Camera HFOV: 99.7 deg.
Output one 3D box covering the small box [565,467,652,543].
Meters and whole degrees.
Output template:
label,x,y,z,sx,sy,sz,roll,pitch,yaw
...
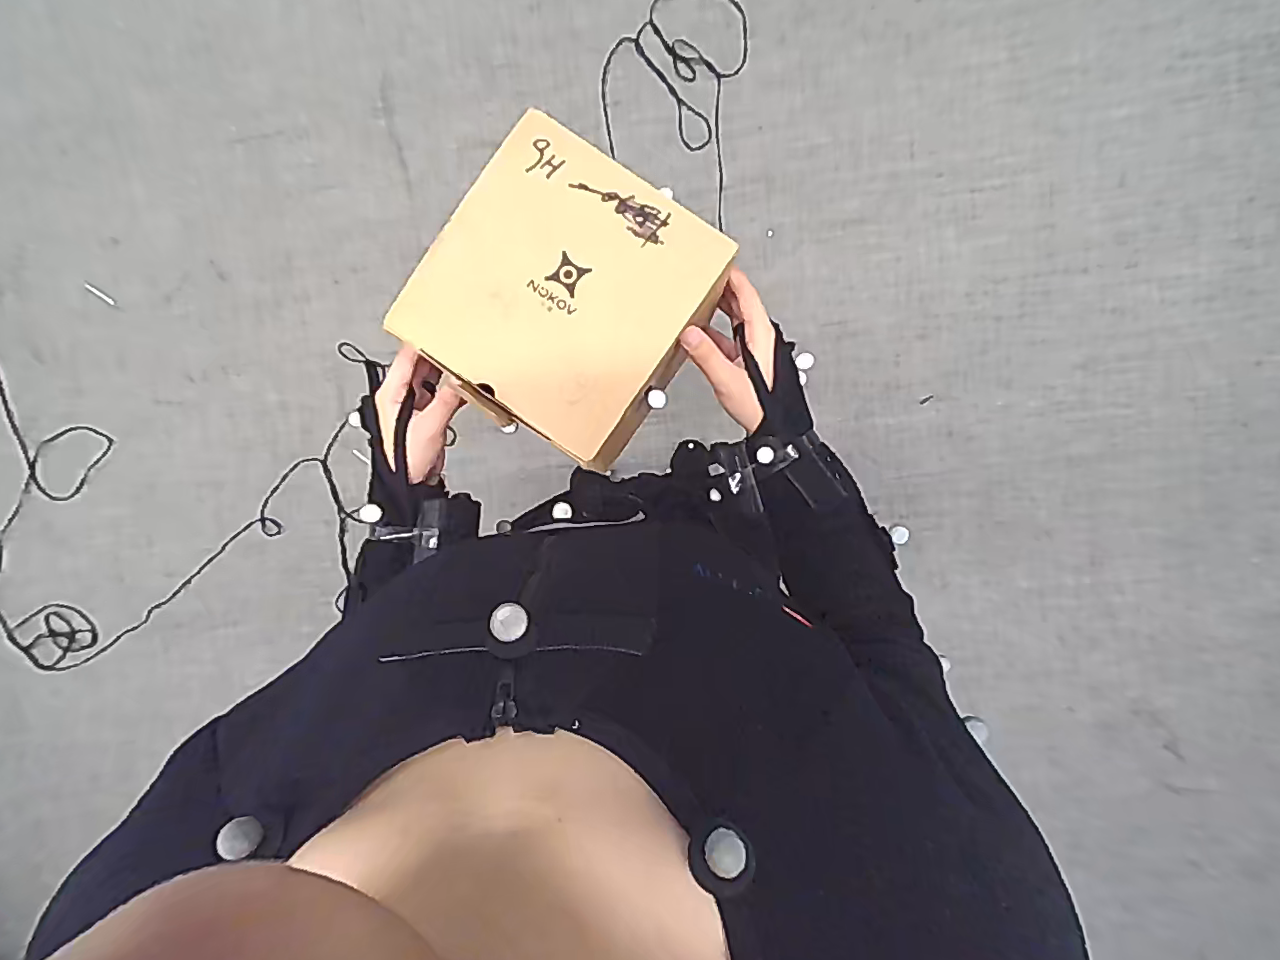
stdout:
label,x,y,z,sx,sy,sz,roll,pitch,yaw
small box,-0.077,0.058,1.329,0.179,0.176,0.168,6,91,14
